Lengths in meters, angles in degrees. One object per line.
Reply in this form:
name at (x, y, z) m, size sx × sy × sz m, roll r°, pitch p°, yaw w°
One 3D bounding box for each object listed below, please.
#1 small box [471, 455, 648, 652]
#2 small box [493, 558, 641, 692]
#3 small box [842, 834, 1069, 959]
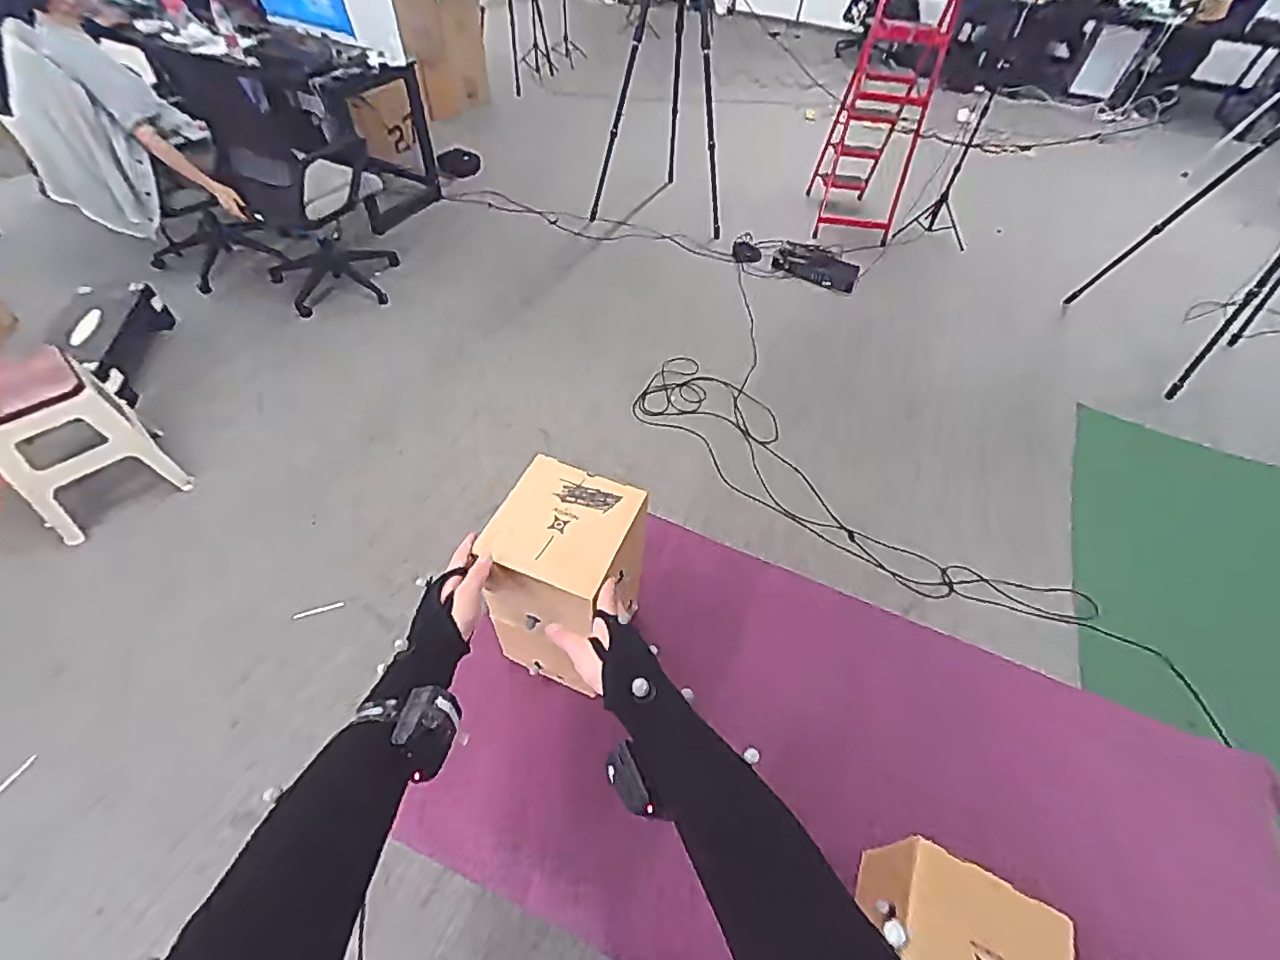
small box at (-0.101, 0.101, 0.739) m, size 0.168 × 0.176 × 0.179 m, roll 19°, pitch 53°, yaw 12°
small box at (-0.110, 0.205, 0.864) m, size 0.168 × 0.176 × 0.179 m, roll 20°, pitch 53°, yaw 12°
small box at (0.345, 0.548, 0.613) m, size 0.168 × 0.176 × 0.179 m, roll 24°, pitch 51°, yaw 15°
